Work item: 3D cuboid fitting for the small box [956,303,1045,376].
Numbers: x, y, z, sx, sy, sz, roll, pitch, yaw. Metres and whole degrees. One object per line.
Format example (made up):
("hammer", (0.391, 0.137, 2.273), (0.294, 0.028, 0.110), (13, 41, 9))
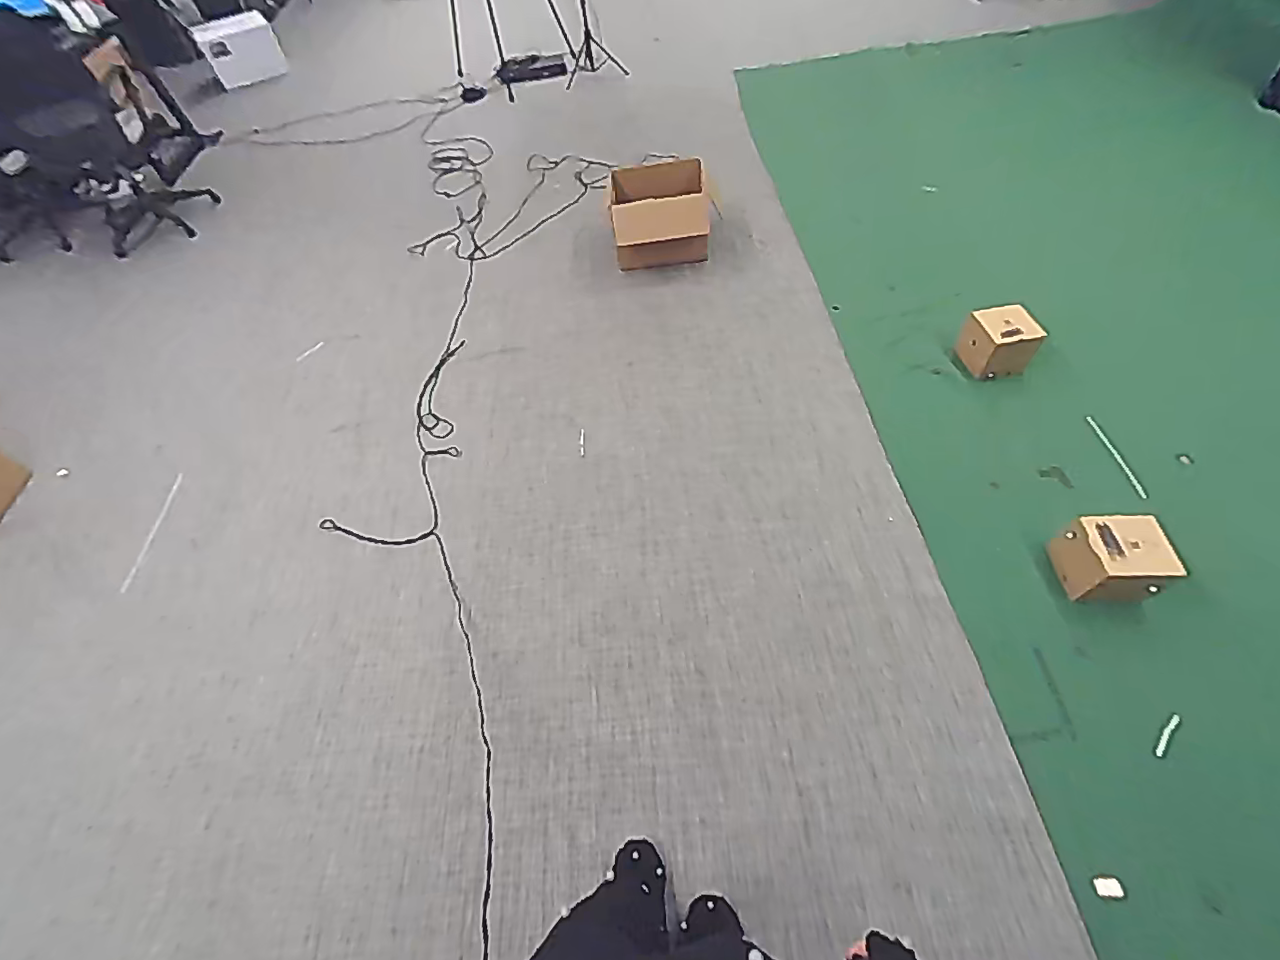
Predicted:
("small box", (1.224, -0.473, 1.848), (0.168, 0.176, 0.179), (-9, 53, 1))
